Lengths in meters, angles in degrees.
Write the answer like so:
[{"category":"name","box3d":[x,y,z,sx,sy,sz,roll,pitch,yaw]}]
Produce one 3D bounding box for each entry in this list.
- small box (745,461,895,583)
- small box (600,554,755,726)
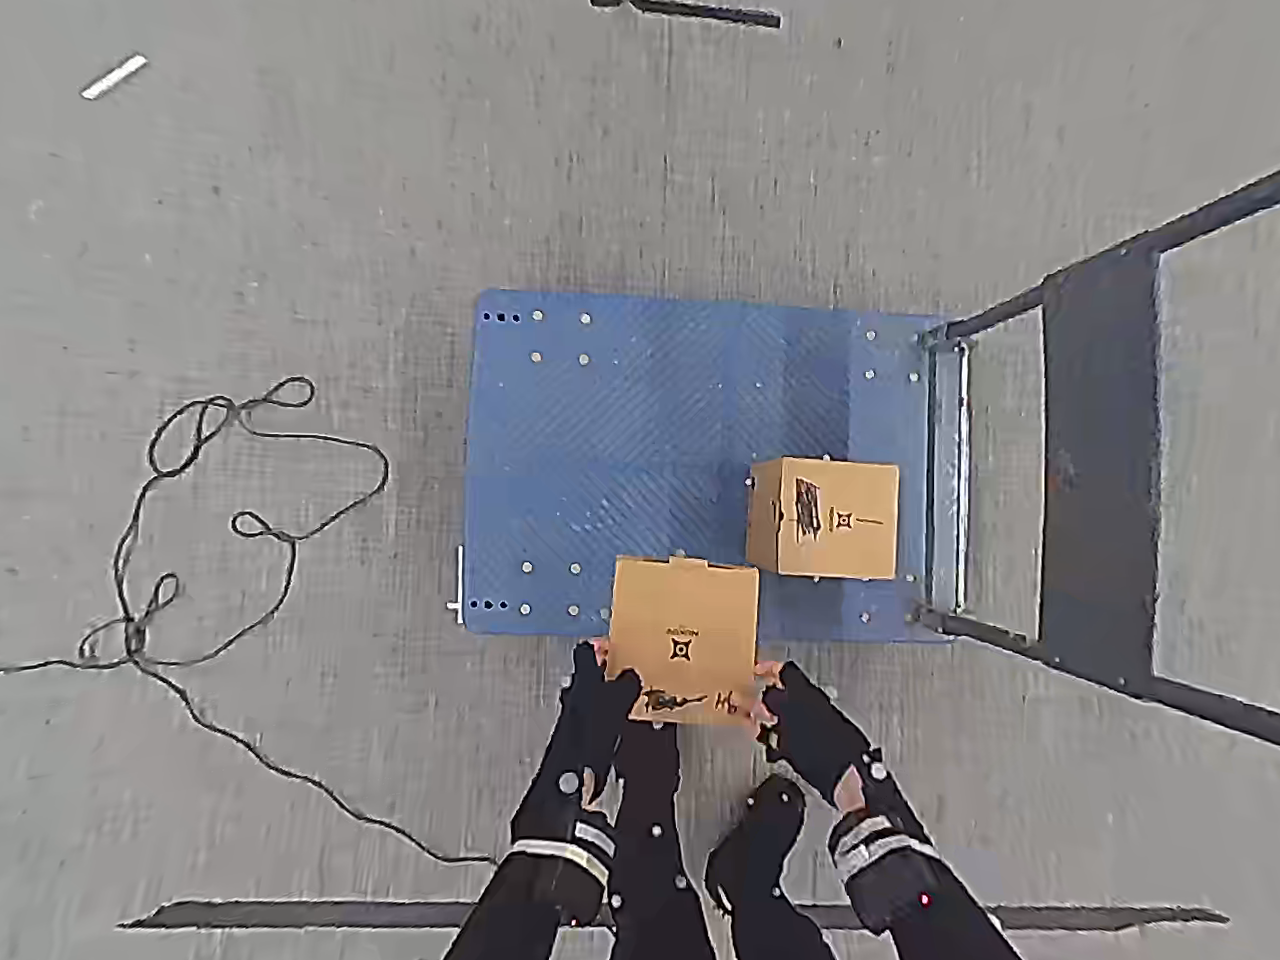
[{"category":"small box","box3d":[0.270,0.064,0.848,0.179,0.176,0.168,4,87,-4]},{"category":"small box","box3d":[0.040,0.192,0.689,0.168,0.176,0.179,6,81,-2]}]
